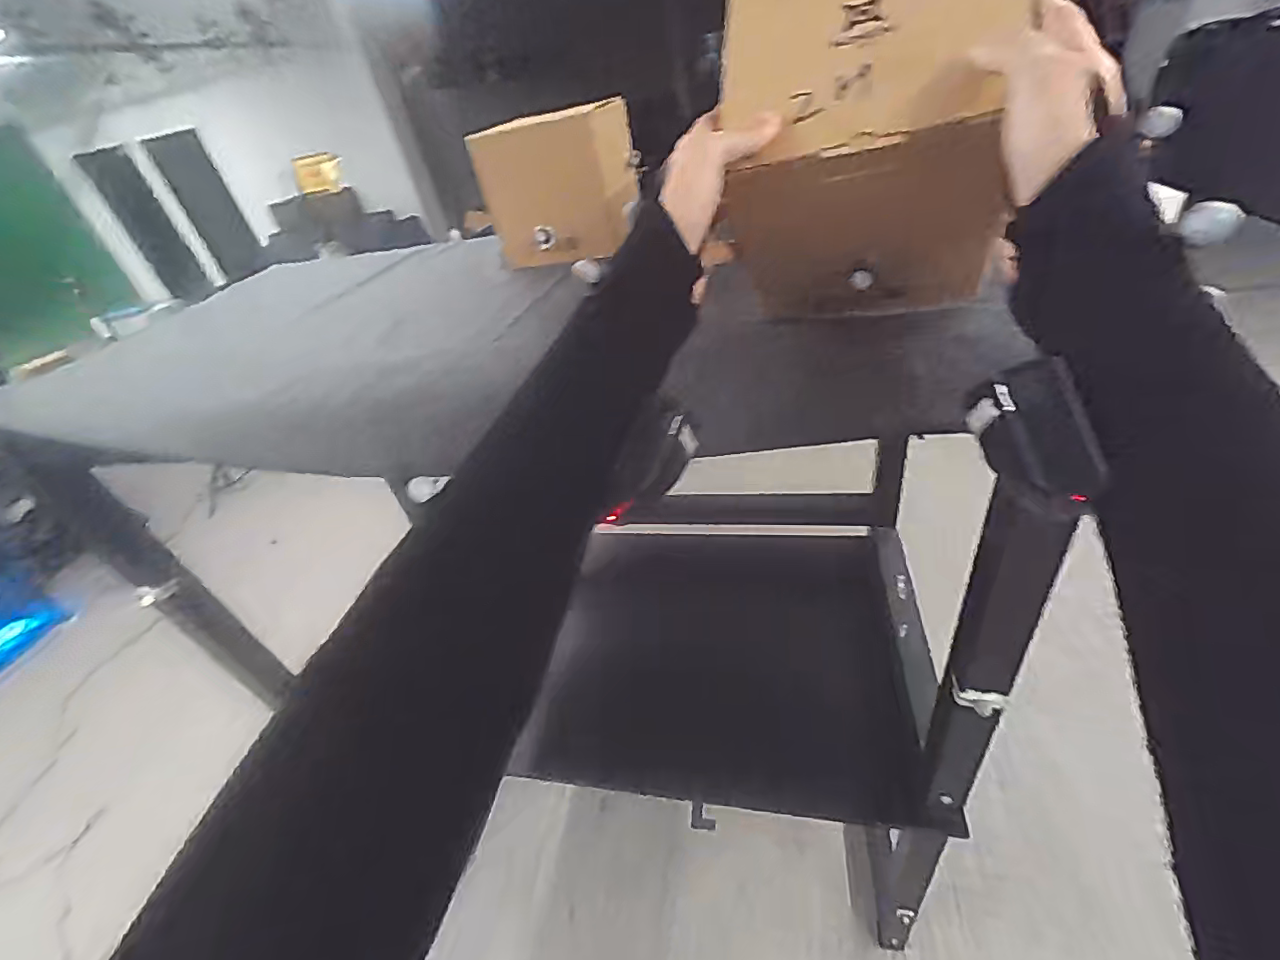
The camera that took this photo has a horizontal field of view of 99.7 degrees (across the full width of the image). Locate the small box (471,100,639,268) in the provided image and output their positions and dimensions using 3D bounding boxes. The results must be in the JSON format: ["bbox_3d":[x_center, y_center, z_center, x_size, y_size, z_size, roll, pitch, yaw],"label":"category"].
[{"bbox_3d":[-0.103,-0.413,0.761,0.168,0.176,0.179,-2,38,15],"label":"small box"}]

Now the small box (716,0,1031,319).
[{"bbox_3d":[0.160,-0.245,0.394,0.168,0.176,0.179,0,74,23],"label":"small box"}]
